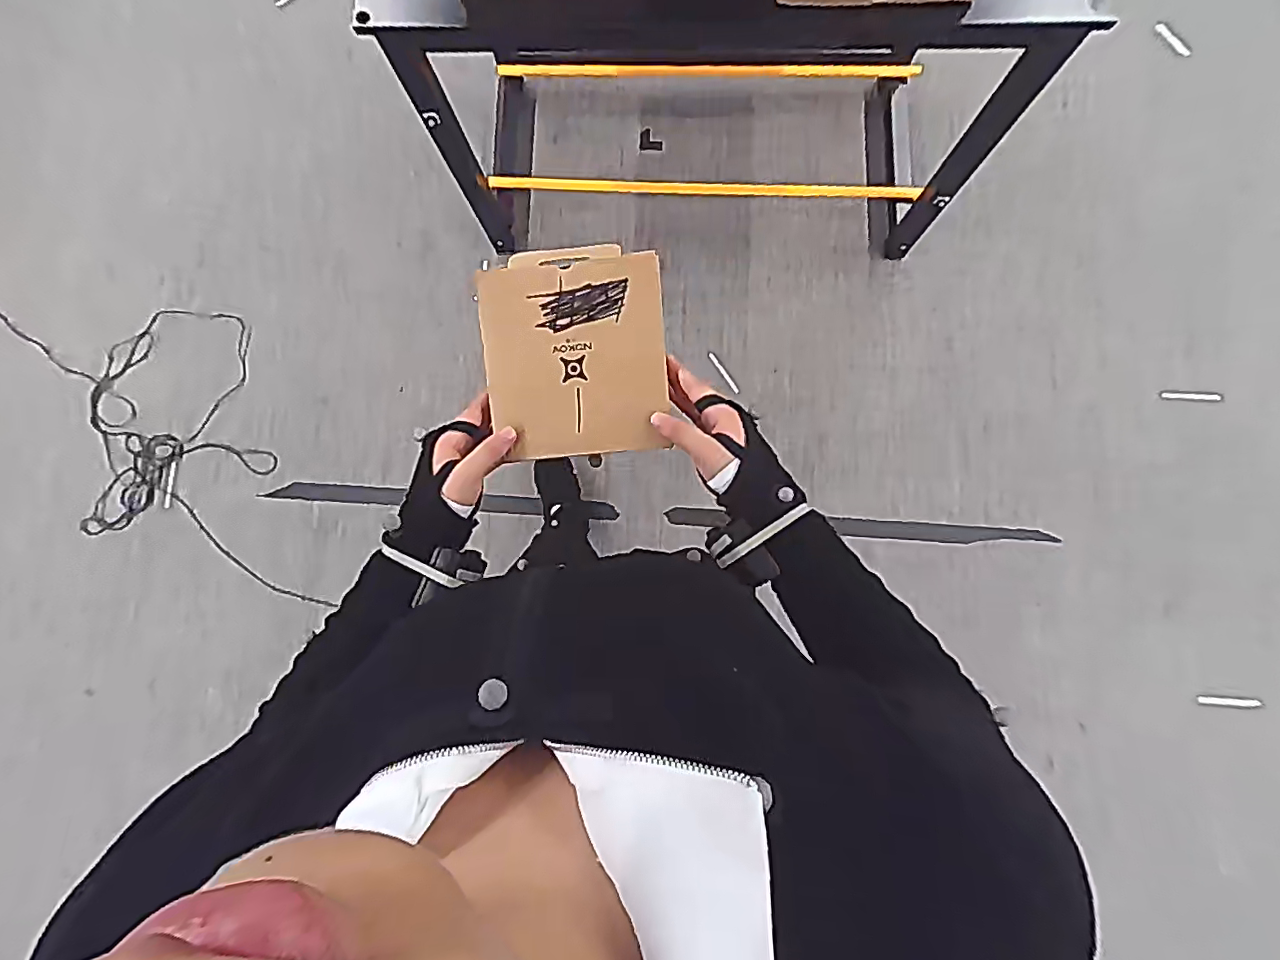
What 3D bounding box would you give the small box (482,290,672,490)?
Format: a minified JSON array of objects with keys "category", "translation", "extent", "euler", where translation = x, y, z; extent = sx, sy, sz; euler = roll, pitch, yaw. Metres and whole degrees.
[{"category":"small box","translation":[-0.056,-0.088,0.580],"extent":[0.168,0.176,0.179],"euler":[-5,95,3]}]
